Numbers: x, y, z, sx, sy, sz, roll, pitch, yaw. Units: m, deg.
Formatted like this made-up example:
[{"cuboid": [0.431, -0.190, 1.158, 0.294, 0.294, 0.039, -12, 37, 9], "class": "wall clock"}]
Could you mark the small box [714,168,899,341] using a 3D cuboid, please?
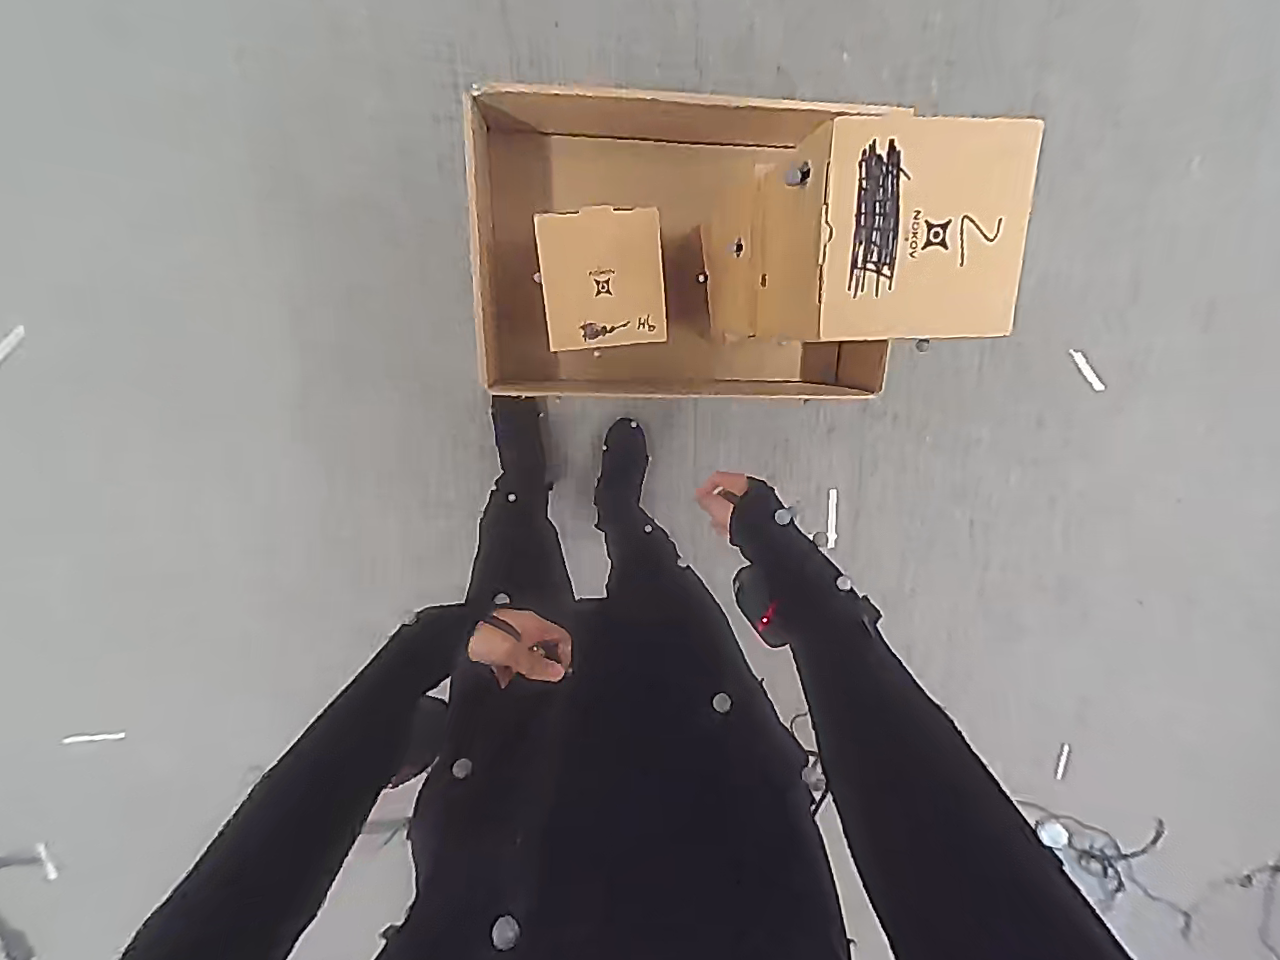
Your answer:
[{"cuboid": [0.190, -0.264, 0.668, 0.168, 0.176, 0.179, -2, 106, -4], "class": "small box"}]

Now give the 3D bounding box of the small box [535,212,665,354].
[{"cuboid": [-0.061, -0.282, 0.804, 0.168, 0.176, 0.179, -6, 105, -4], "class": "small box"}]
